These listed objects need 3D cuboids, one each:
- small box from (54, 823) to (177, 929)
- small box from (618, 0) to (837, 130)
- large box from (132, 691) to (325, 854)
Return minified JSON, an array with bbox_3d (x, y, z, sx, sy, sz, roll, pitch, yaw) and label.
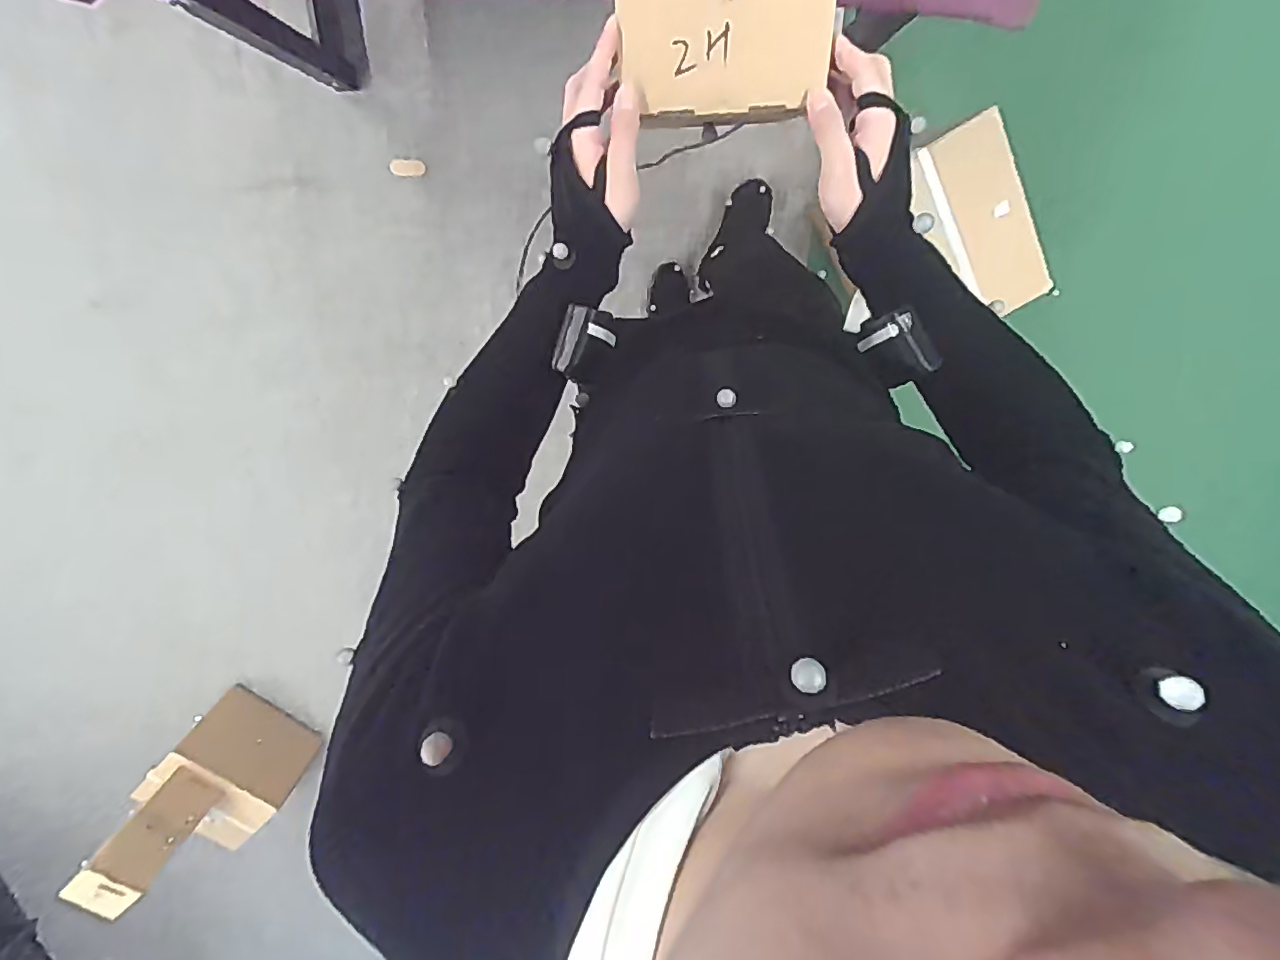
[{"bbox_3d":[-1.516,1.149,1.578,0.179,0.176,0.168,-41,106,16],"label":"small box"},{"bbox_3d":[0.067,-0.413,0.462,0.168,0.176,0.179,0,119,3],"label":"small box"},{"bbox_3d":[-1.488,1.065,1.987,0.320,0.320,0.408,-42,107,17],"label":"large box"}]
